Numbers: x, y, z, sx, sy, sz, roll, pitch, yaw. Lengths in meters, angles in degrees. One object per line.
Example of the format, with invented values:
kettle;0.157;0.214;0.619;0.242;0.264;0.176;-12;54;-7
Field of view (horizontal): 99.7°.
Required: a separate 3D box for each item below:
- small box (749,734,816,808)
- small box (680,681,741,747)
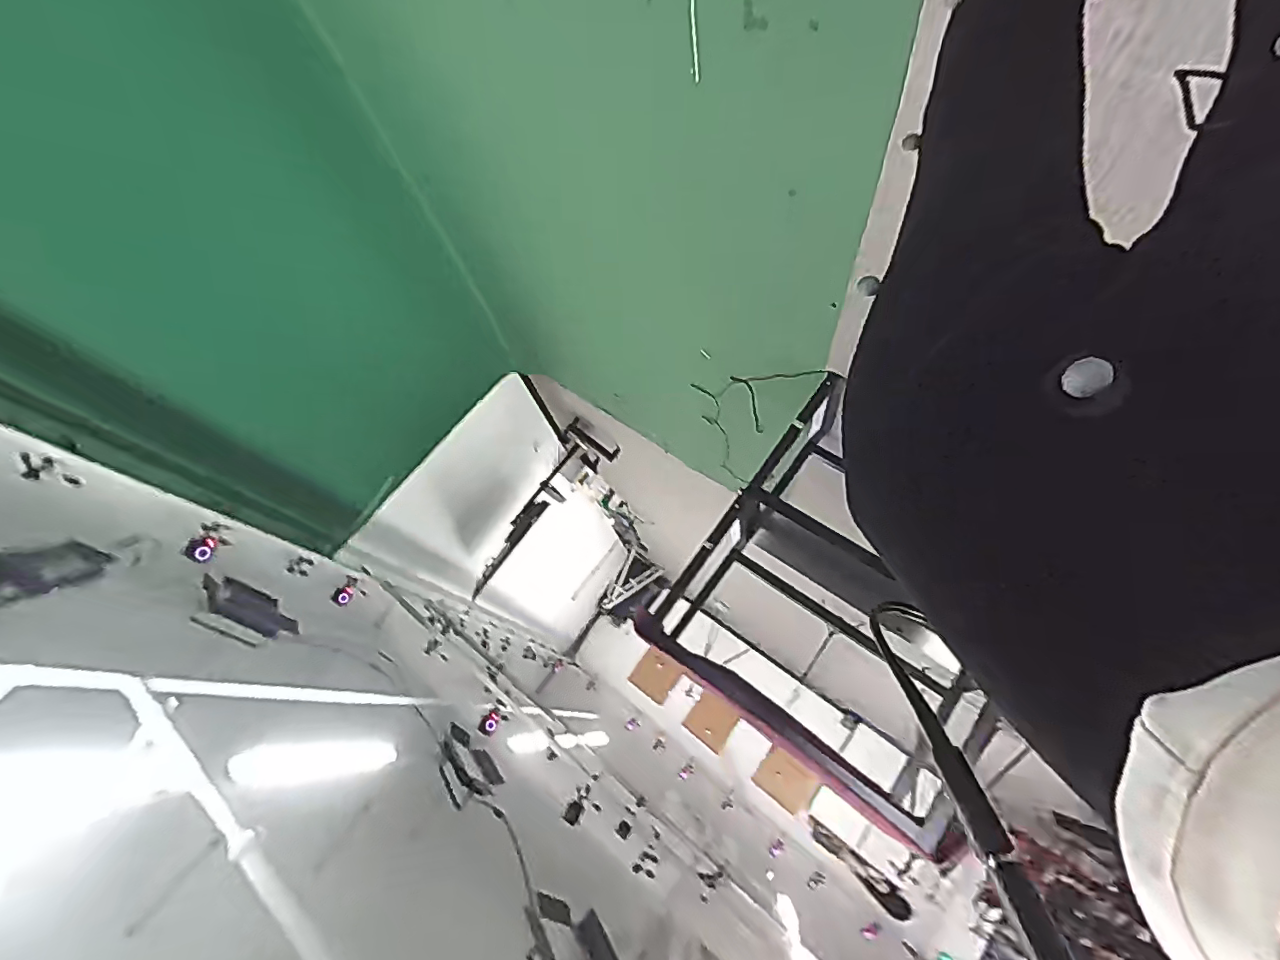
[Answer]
small box;0.528;1.071;2.003;0.168;0.176;0.179;35;167;16
small box;0.284;0.913;2.117;0.179;0.176;0.168;33;166;22
